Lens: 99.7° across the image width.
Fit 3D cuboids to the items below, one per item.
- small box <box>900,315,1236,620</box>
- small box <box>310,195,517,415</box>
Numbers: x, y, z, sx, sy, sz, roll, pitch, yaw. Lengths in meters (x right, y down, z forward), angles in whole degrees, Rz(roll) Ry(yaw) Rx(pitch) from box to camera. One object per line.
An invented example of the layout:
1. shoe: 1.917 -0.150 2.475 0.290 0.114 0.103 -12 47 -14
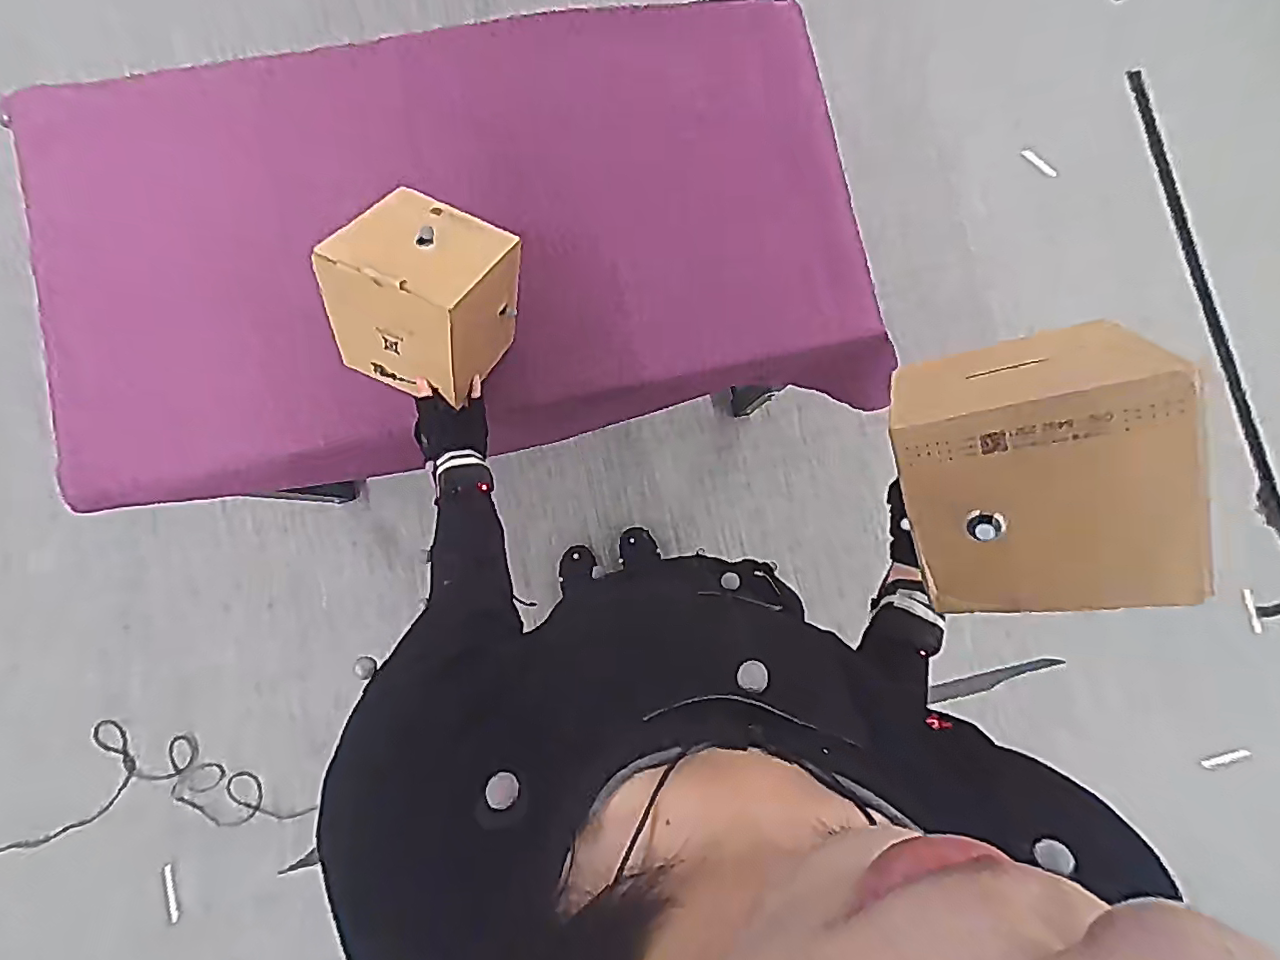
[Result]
1. small box: 0.309 -0.014 0.424 0.168 0.179 0.176 -10 110 30
2. small box: -0.268 -0.222 0.682 0.168 0.179 0.176 24 54 1
